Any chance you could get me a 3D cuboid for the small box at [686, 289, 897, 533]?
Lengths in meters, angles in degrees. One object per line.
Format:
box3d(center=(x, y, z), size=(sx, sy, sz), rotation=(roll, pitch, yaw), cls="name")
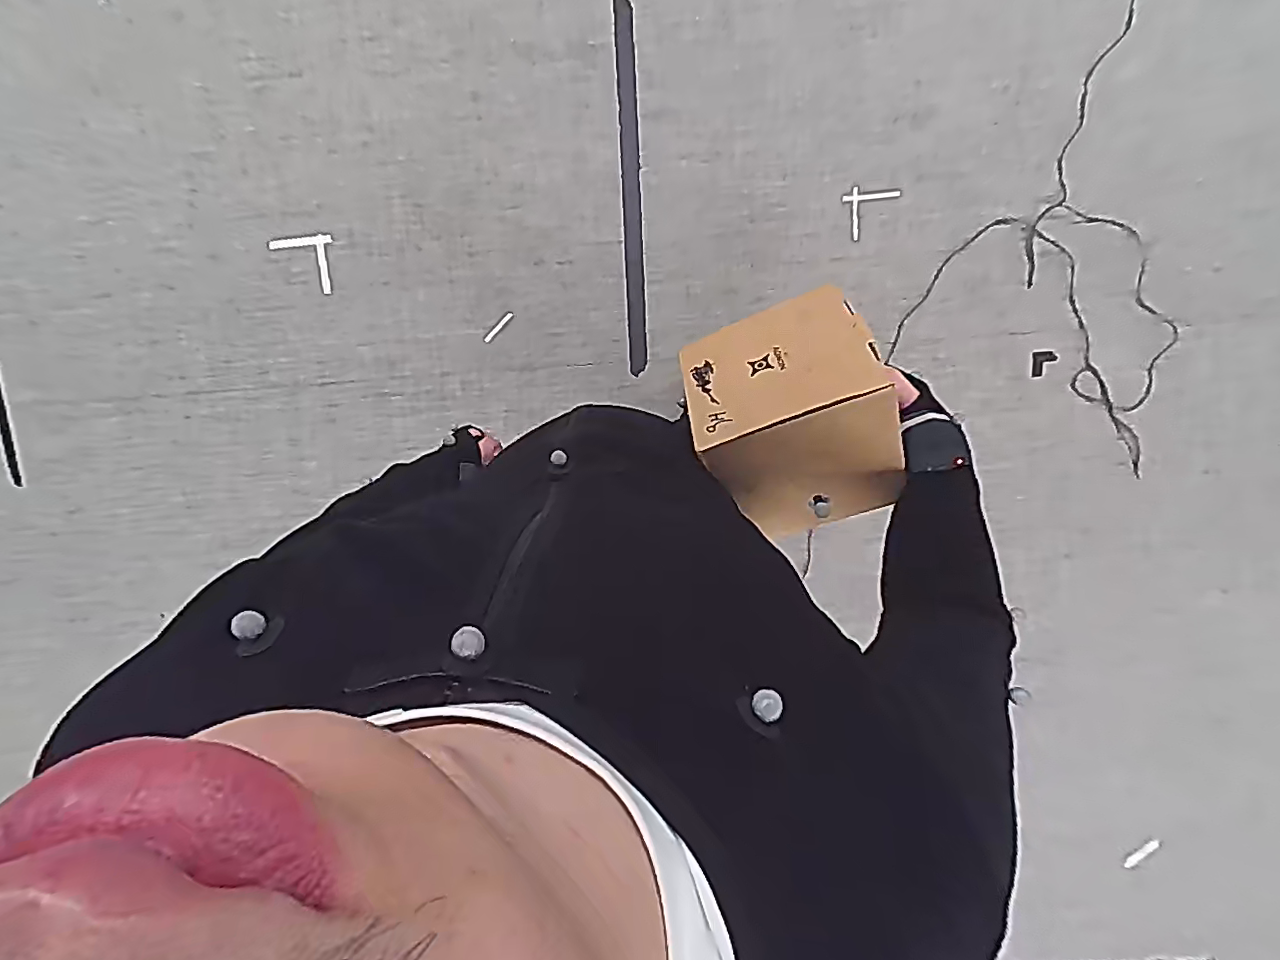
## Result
box3d(center=(0.166, -0.068, 0.592), size=(0.179, 0.168, 0.176), rotation=(-19, 135, 15), cls="small box")
